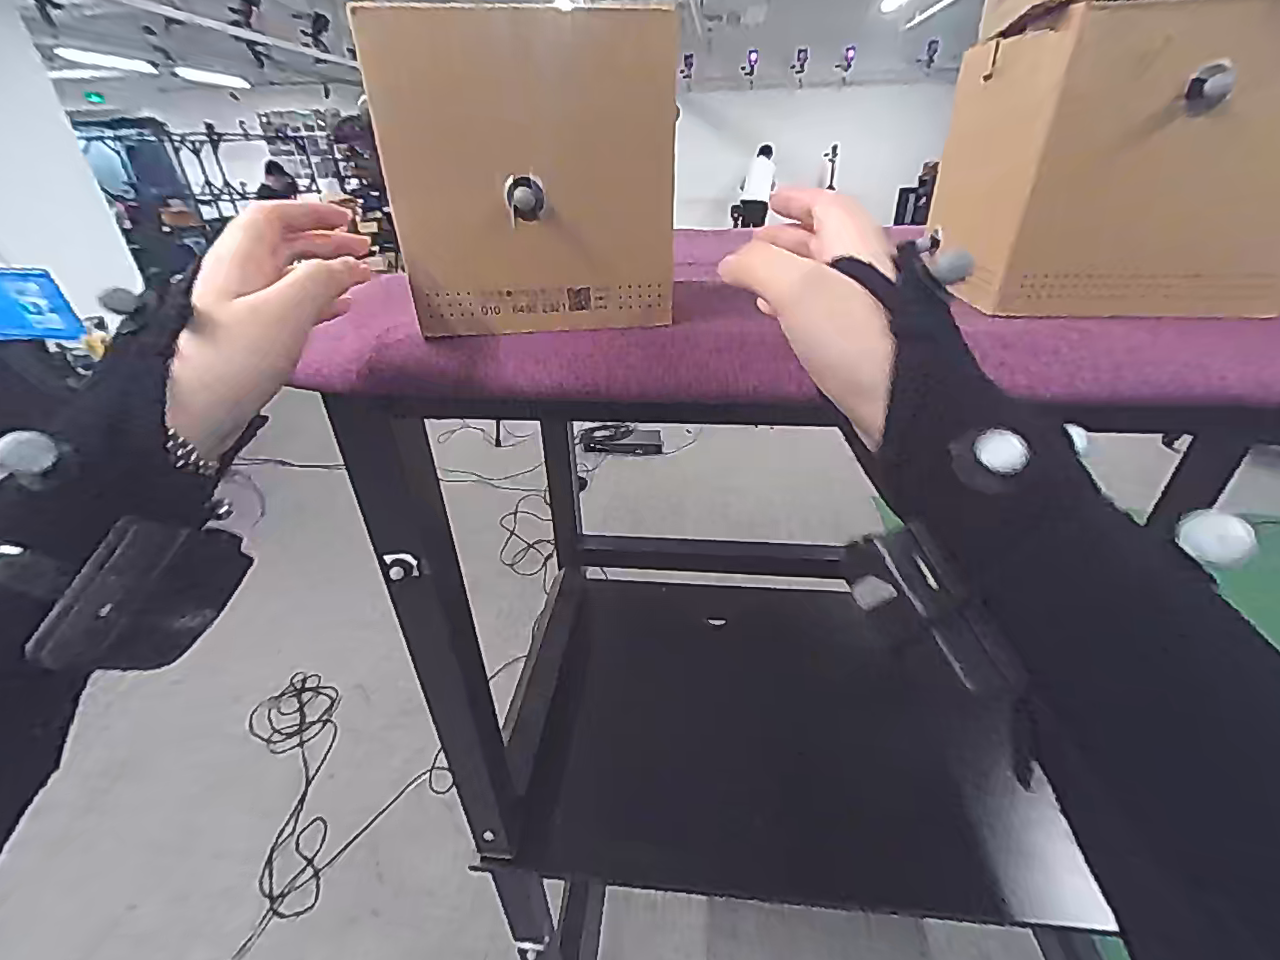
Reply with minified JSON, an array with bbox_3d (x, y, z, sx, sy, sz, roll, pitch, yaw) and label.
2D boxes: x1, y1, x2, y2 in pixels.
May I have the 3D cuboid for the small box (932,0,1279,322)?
[{"bbox_3d":[0.330,-0.214,0.382,0.179,0.176,0.168,3,31,6],"label":"small box"}]

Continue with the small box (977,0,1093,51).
[{"bbox_3d":[0.322,-0.354,0.300,0.179,0.176,0.168,7,31,16],"label":"small box"}]

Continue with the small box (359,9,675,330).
[{"bbox_3d":[-0.068,-0.209,0.387,0.168,0.176,0.179,-3,31,-6],"label":"small box"}]
